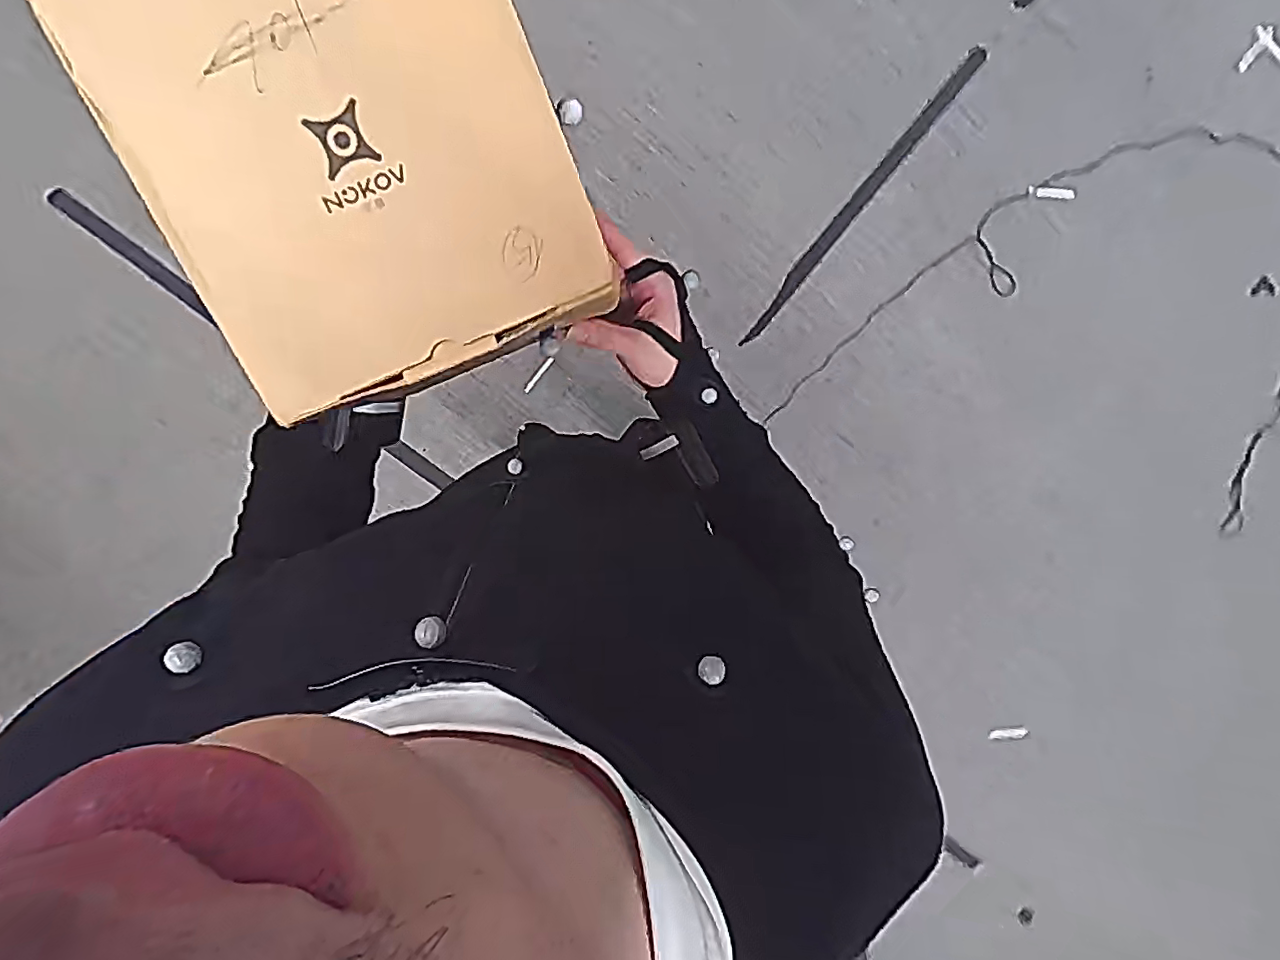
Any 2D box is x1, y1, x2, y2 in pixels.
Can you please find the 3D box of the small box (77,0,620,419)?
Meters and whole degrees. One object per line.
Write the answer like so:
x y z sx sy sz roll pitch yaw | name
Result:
-0.117 -0.154 0.304 0.168 0.176 0.179 -22 104 2 | small box
